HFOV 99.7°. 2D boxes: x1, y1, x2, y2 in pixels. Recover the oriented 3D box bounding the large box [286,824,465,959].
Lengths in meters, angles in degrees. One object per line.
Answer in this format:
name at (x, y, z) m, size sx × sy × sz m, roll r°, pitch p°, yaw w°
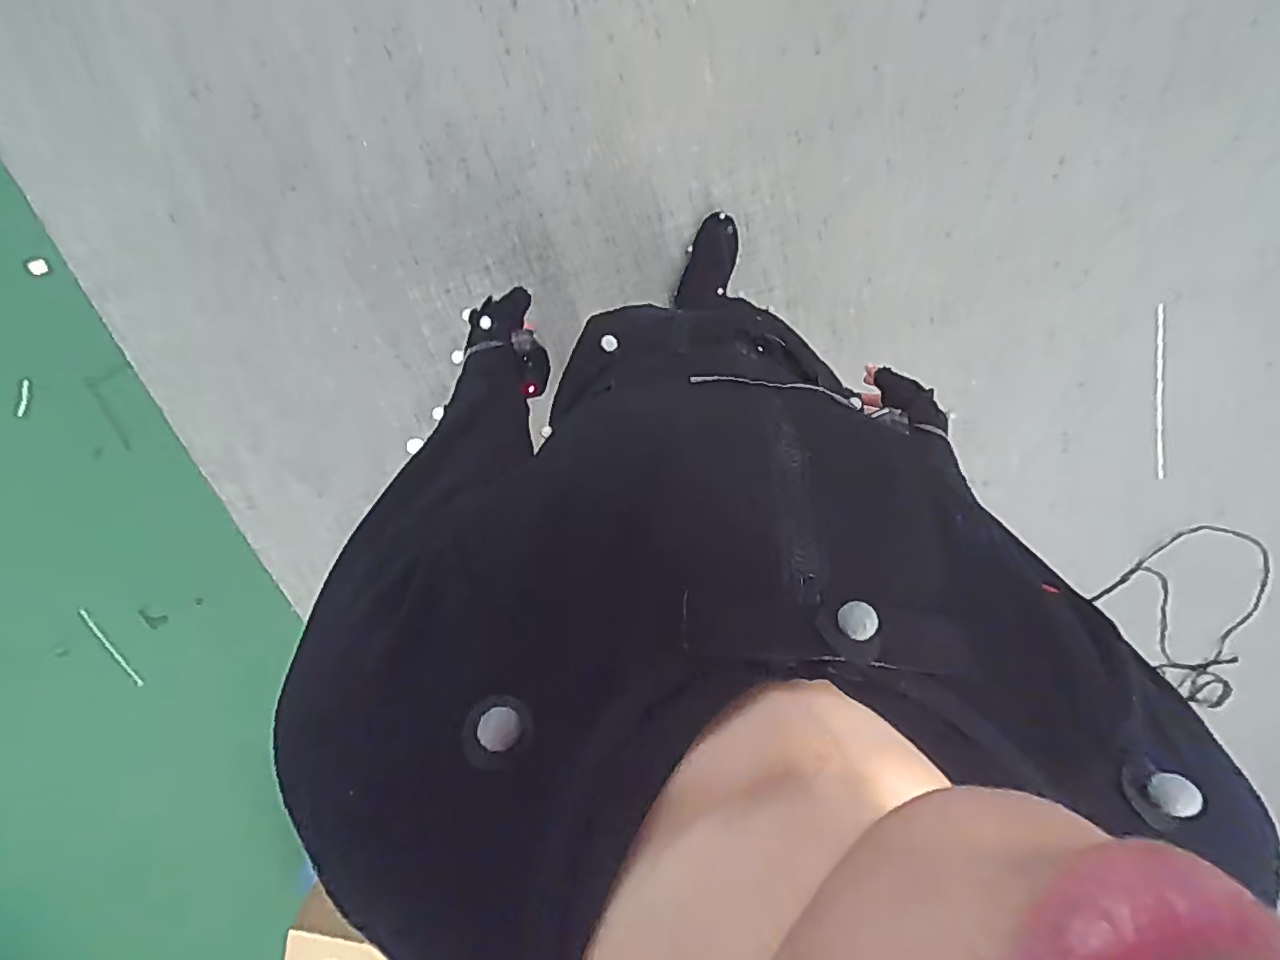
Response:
large box at (-0.812, 1.357, 1.693) m, size 0.408 × 0.320 × 0.320 m, roll 17°, pitch 112°, yaw -5°
